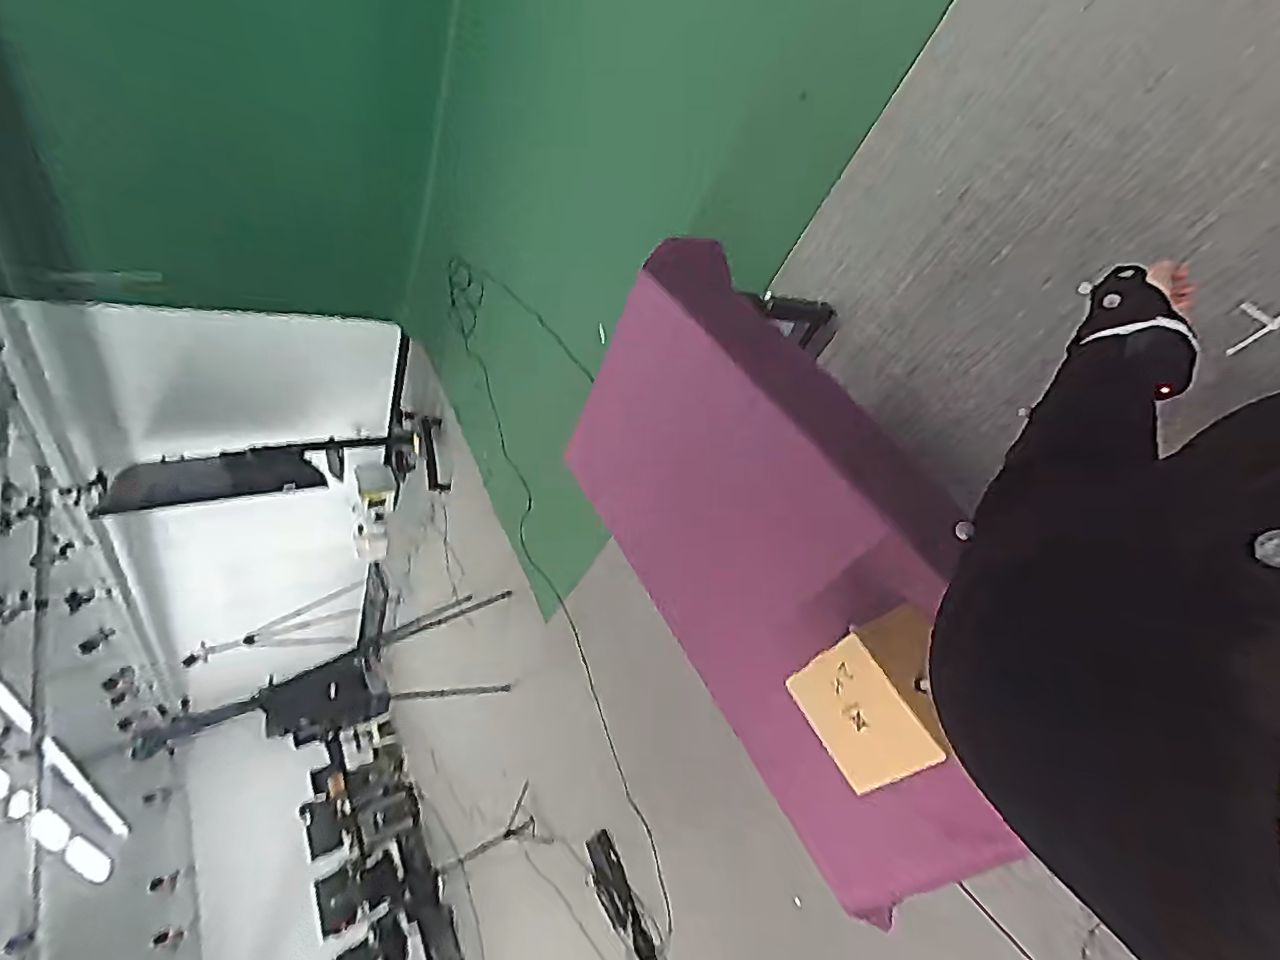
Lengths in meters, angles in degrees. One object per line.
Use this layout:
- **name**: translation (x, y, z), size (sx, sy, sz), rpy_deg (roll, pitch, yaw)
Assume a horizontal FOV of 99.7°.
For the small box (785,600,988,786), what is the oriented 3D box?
- **small box**: translation (0.358, 0.303, 0.790), size (0.179, 0.176, 0.168), rpy_deg (58, 137, 27)
